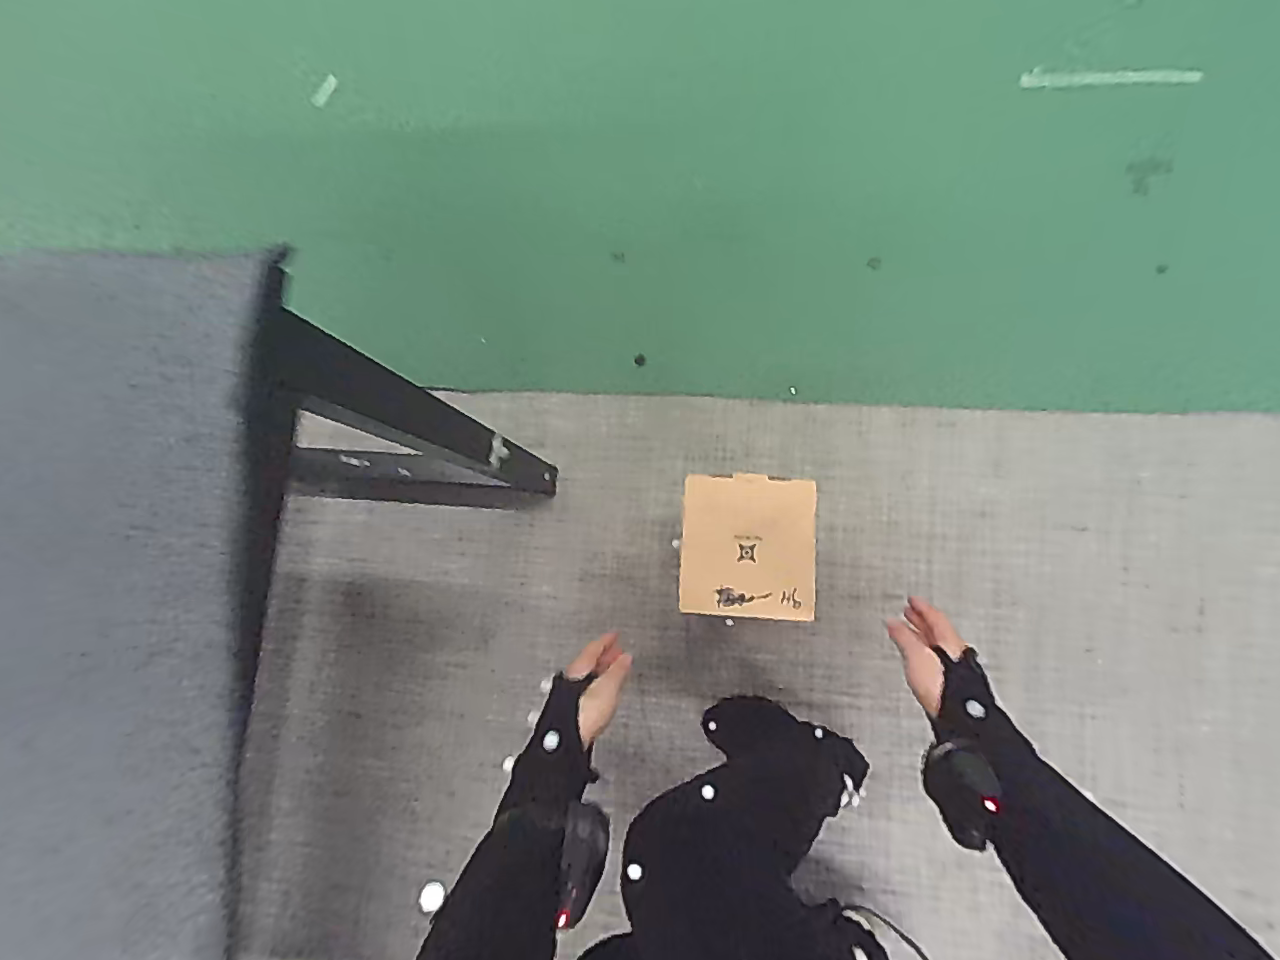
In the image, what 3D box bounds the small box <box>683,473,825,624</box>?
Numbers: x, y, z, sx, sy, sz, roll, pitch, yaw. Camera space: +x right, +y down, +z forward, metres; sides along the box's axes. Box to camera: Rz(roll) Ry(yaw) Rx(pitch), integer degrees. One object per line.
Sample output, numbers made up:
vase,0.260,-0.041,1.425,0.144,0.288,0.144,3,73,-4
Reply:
small box,0.148,0.094,0.748,0.168,0.176,0.179,4,82,6
